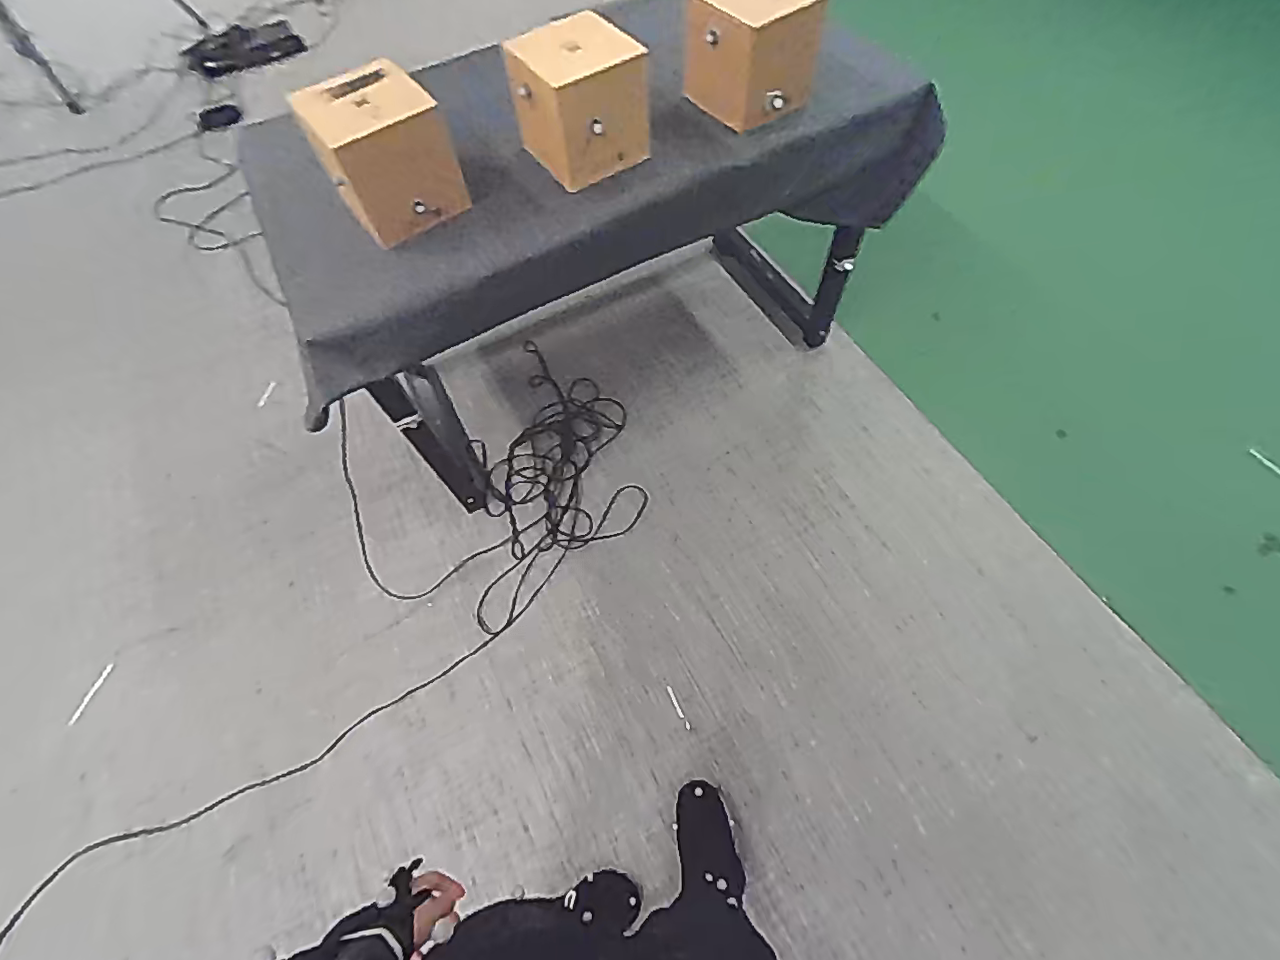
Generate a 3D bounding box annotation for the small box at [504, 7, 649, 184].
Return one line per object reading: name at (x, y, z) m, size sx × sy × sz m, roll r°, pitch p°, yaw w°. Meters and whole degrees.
small box at (-0.096, -0.627, 0.897) m, size 0.168 × 0.176 × 0.179 m, roll -32°, pitch 65°, yaw -13°

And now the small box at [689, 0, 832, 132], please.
small box at (0.198, -0.757, 0.951) m, size 0.168 × 0.176 × 0.179 m, roll -33°, pitch 67°, yaw -13°
